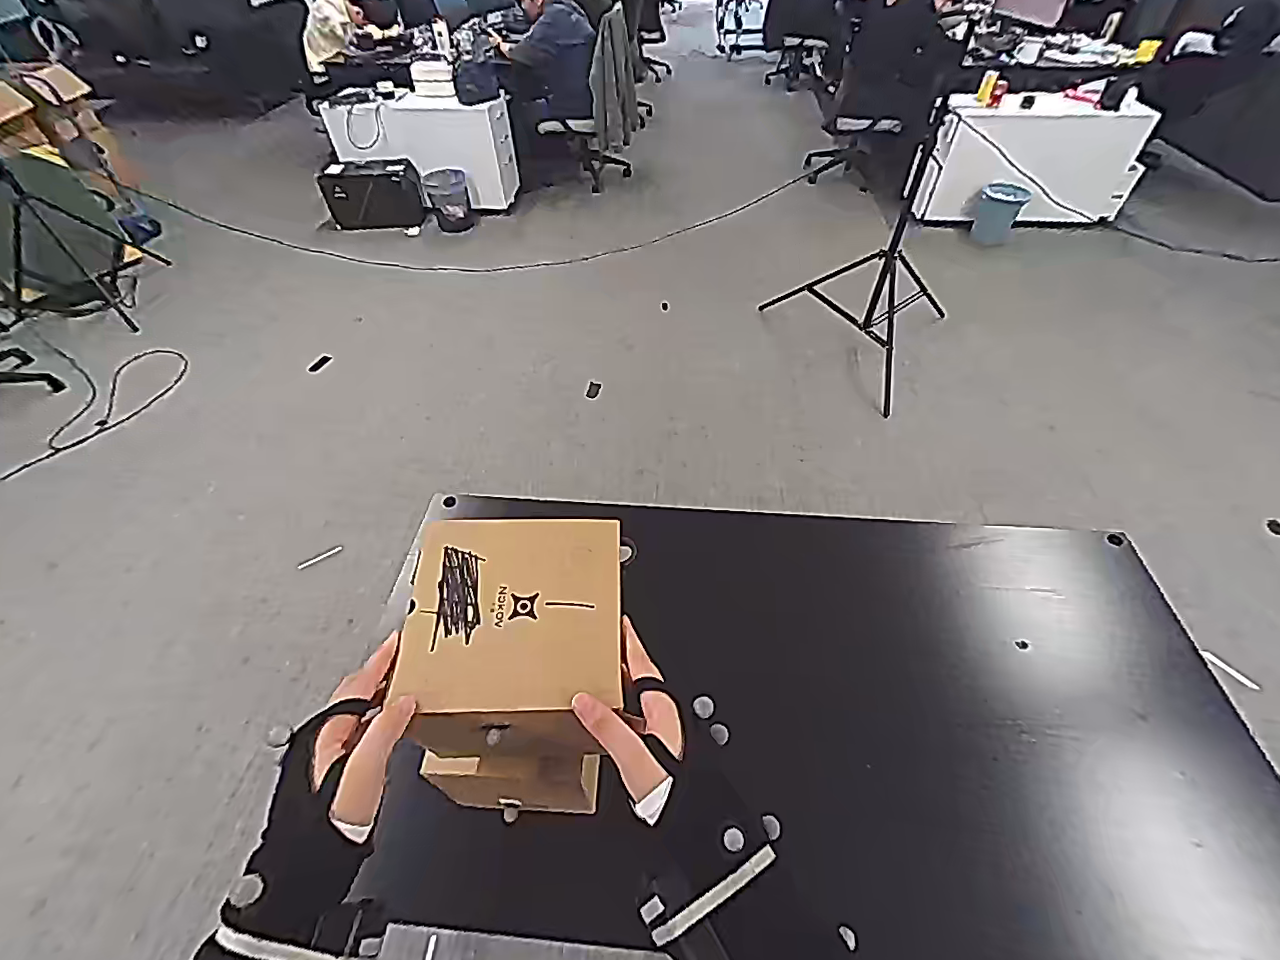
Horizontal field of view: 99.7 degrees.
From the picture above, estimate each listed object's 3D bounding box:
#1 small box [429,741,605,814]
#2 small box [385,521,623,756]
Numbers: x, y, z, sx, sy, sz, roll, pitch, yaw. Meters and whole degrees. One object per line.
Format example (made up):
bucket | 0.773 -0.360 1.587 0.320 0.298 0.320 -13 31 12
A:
small box | -0.129 0.285 0.657 0.168 0.176 0.179 0 49 3
small box | -0.105 0.153 0.508 0.179 0.176 0.168 0 53 -3
